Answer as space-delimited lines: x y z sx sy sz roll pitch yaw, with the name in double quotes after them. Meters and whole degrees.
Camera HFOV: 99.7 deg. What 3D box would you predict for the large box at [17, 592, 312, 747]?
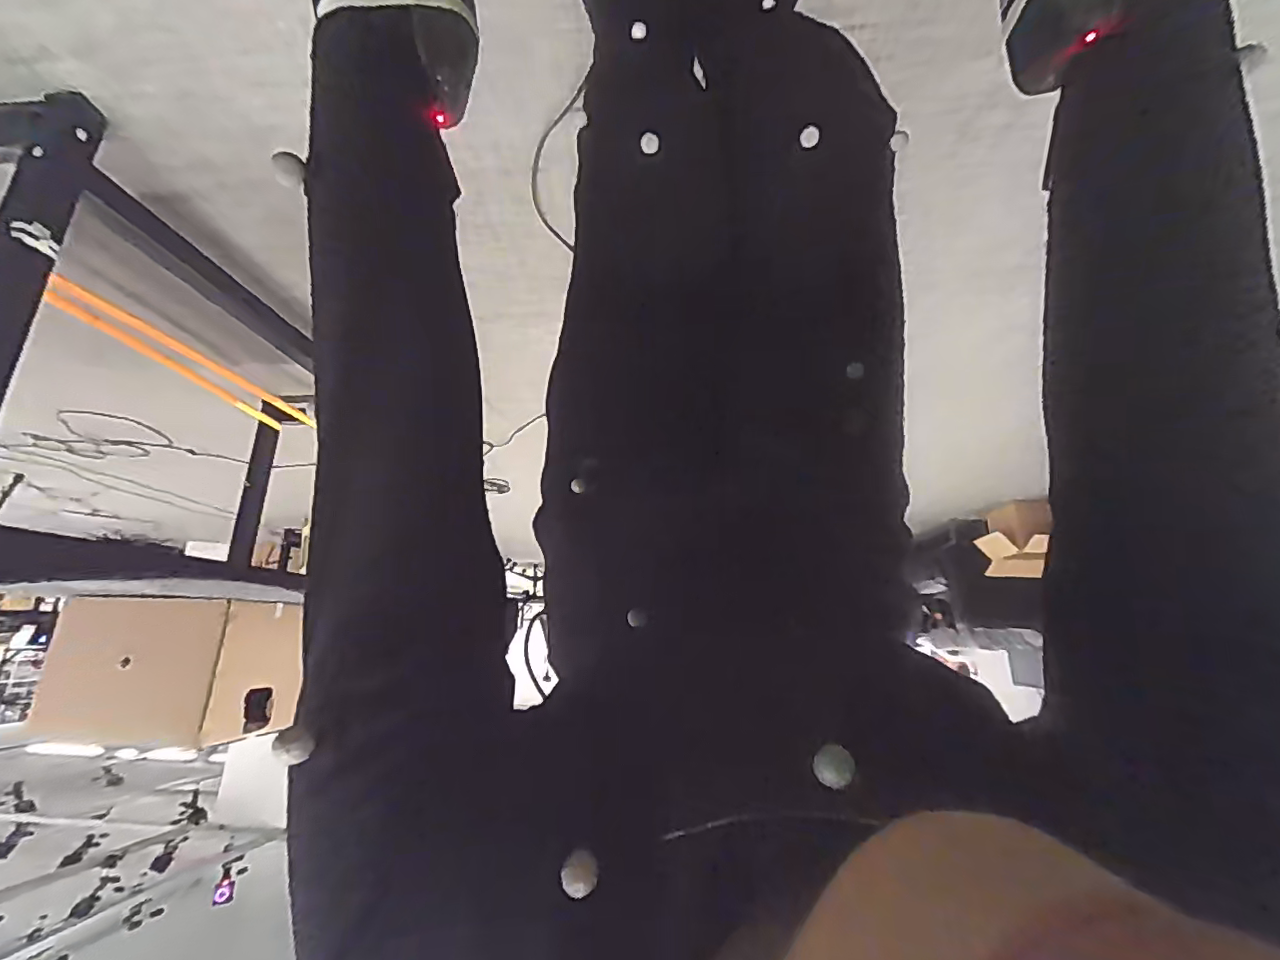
-1.093 0.440 1.292 0.408 0.320 0.320 -1 164 5 "large box"
